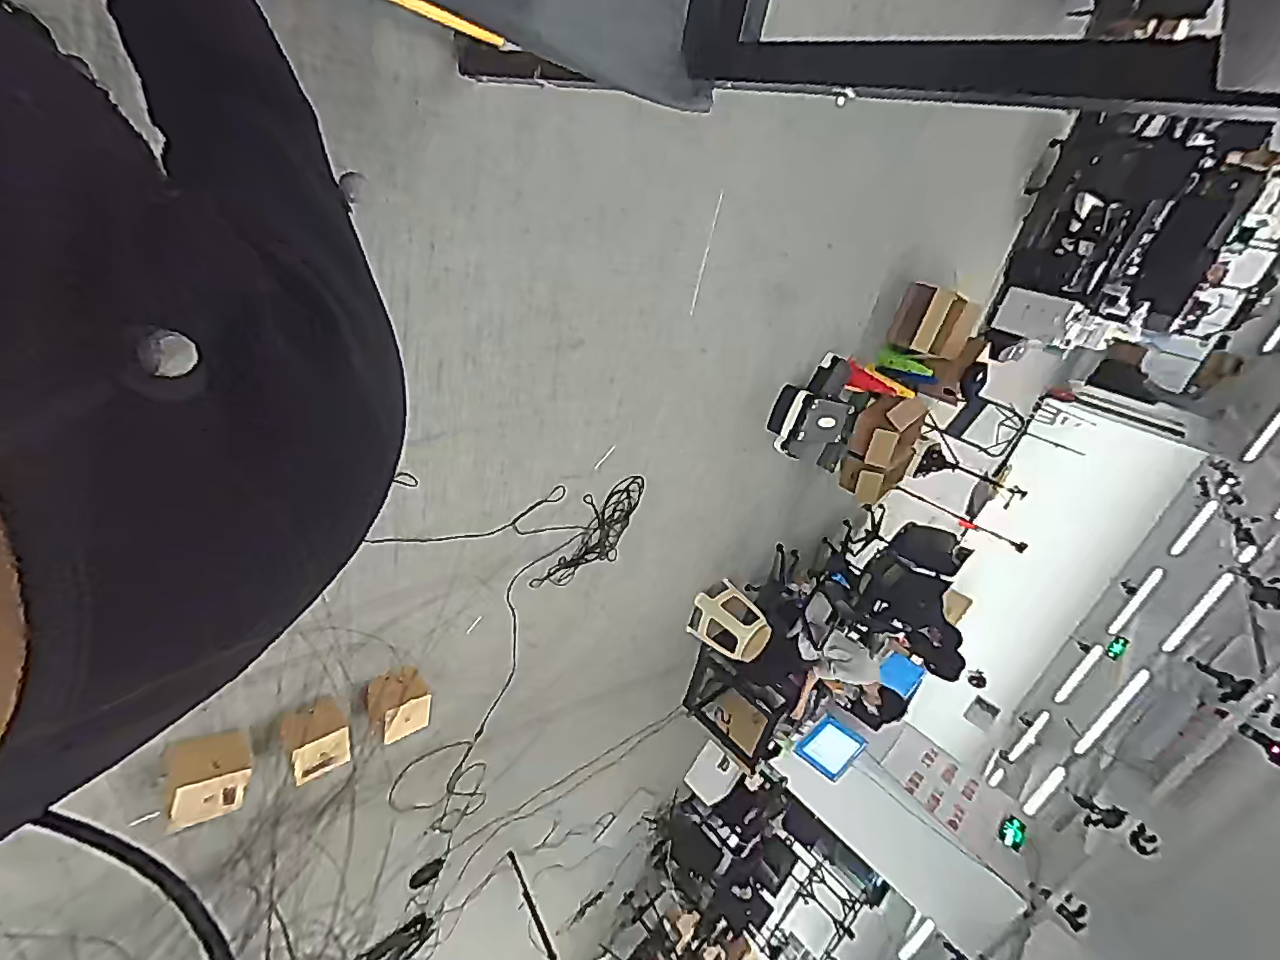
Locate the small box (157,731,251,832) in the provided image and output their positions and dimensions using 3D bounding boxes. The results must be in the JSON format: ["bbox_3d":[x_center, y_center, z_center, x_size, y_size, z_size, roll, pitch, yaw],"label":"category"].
[{"bbox_3d":[-1.289,0.878,1.596,0.179,0.176,0.168,7,111,-51],"label":"small box"}]

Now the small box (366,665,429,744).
[{"bbox_3d":[-0.909,0.833,2.019,0.168,0.176,0.179,-13,126,-45],"label":"small box"}]
